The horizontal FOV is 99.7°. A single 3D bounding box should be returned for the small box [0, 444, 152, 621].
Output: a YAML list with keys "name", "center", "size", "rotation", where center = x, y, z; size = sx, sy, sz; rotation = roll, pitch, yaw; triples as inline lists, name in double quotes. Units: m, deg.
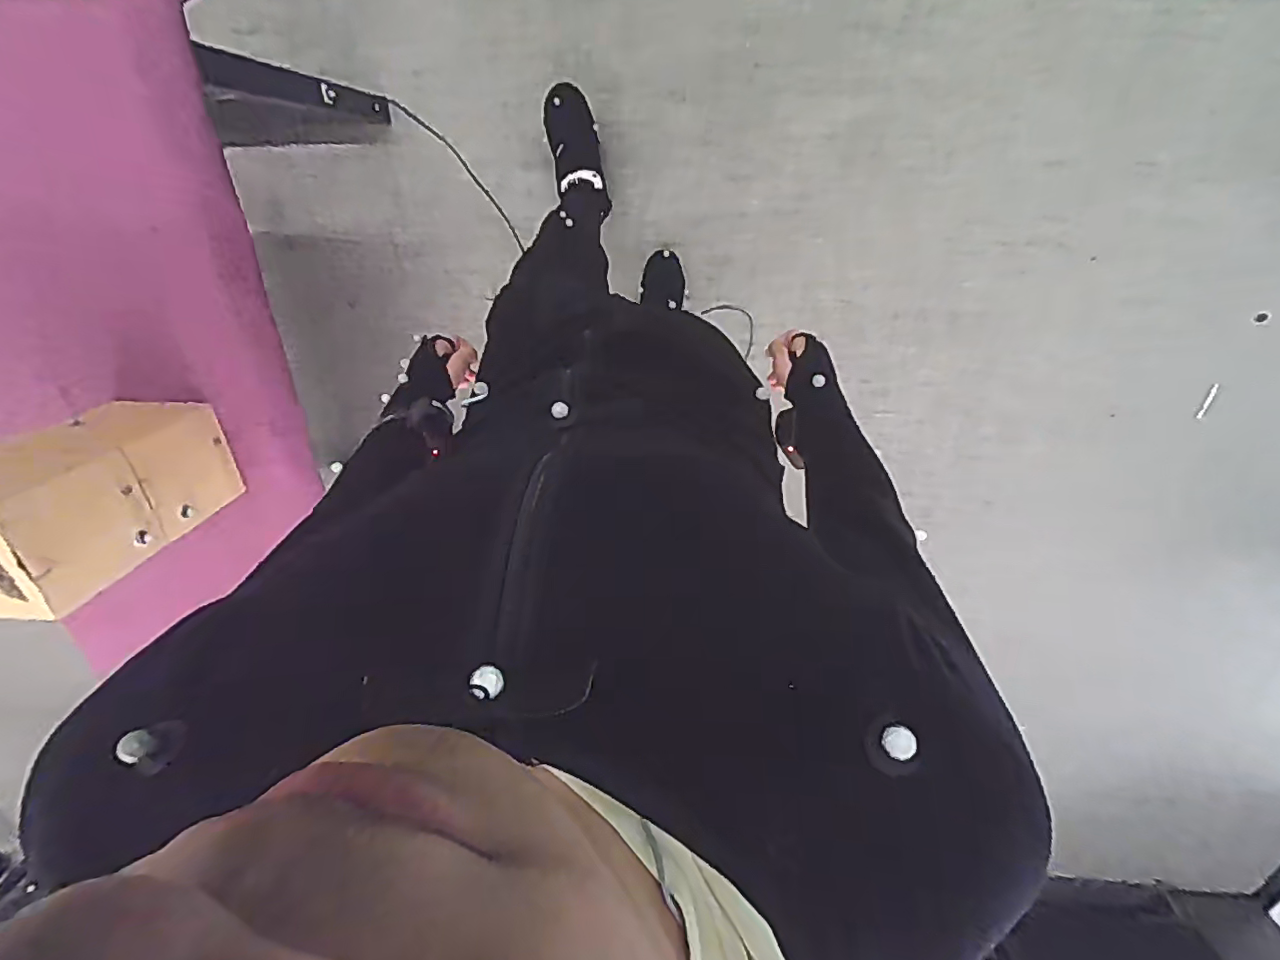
- name: "small box"
  center: [-0.799, 0.061, 0.705]
  size: [0.179, 0.176, 0.168]
  rotation: [2, 118, 4]
